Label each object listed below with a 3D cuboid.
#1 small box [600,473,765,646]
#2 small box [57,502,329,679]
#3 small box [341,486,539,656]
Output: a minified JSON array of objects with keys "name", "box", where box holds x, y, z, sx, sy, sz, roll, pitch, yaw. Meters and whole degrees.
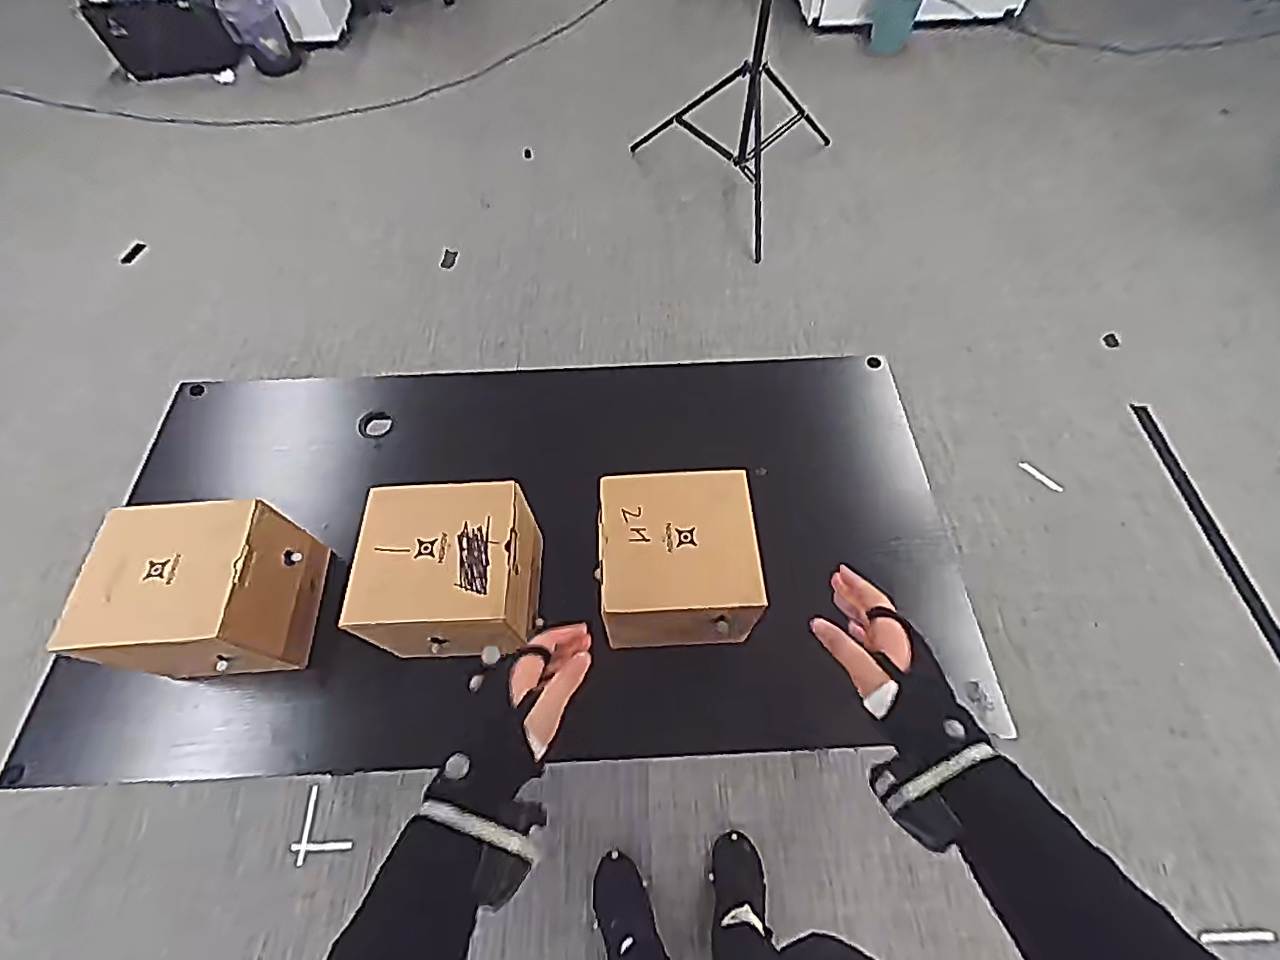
[{"name":"small box","box":[0.043,0.105,0.675,0.179,0.176,0.168,-3,61,0]},{"name":"small box","box":[-0.521,0.142,0.667,0.179,0.176,0.168,-5,60,-1]},{"name":"small box","box":[-0.227,0.118,0.673,0.179,0.176,0.168,-3,61,1]}]
